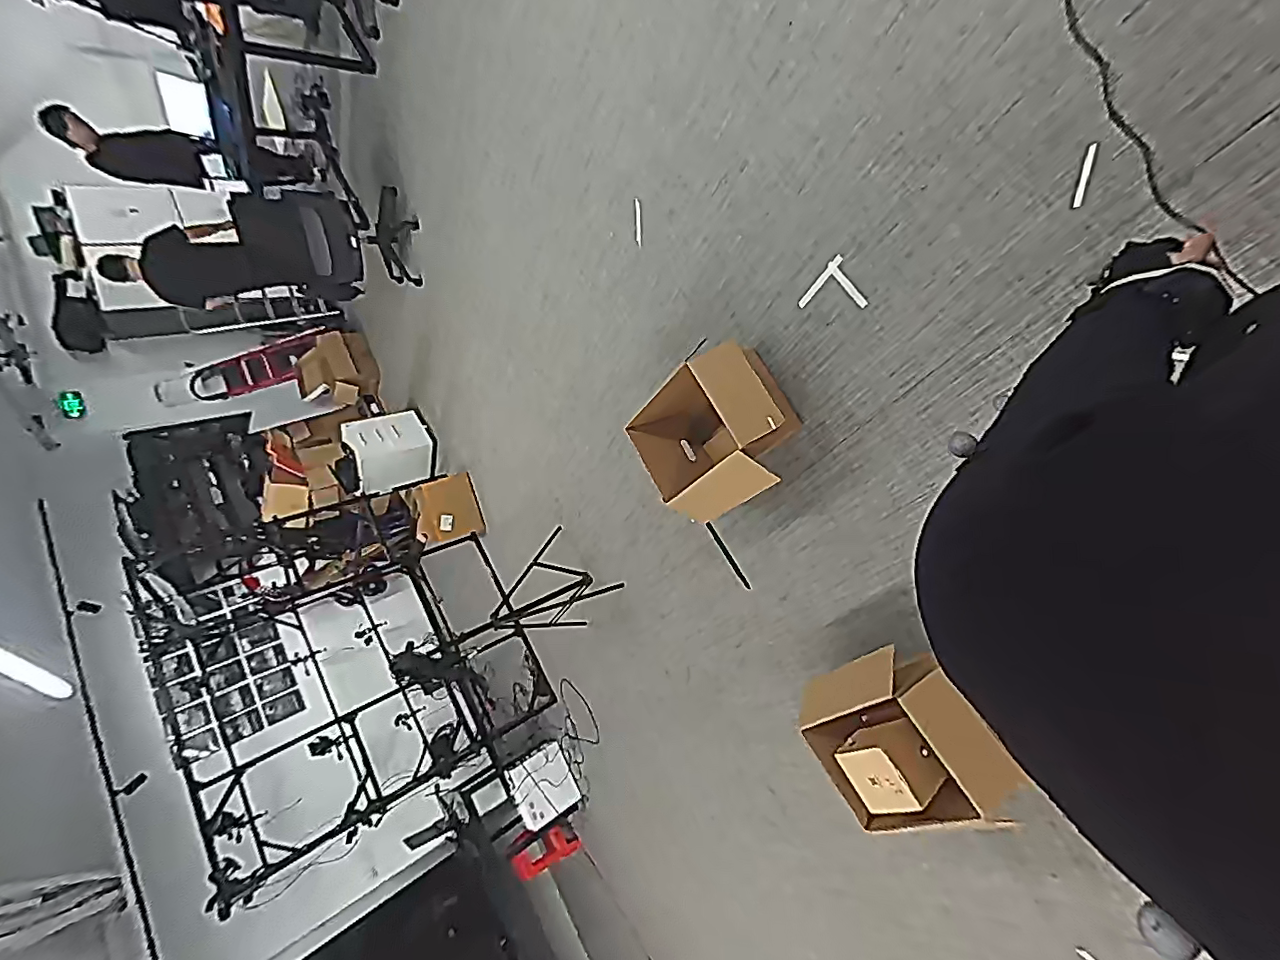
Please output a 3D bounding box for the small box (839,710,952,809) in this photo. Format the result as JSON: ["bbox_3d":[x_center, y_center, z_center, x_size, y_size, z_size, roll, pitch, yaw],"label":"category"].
[{"bbox_3d":[0.677,0.738,1.429,0.168,0.176,0.179,58,142,16],"label":"small box"}]
